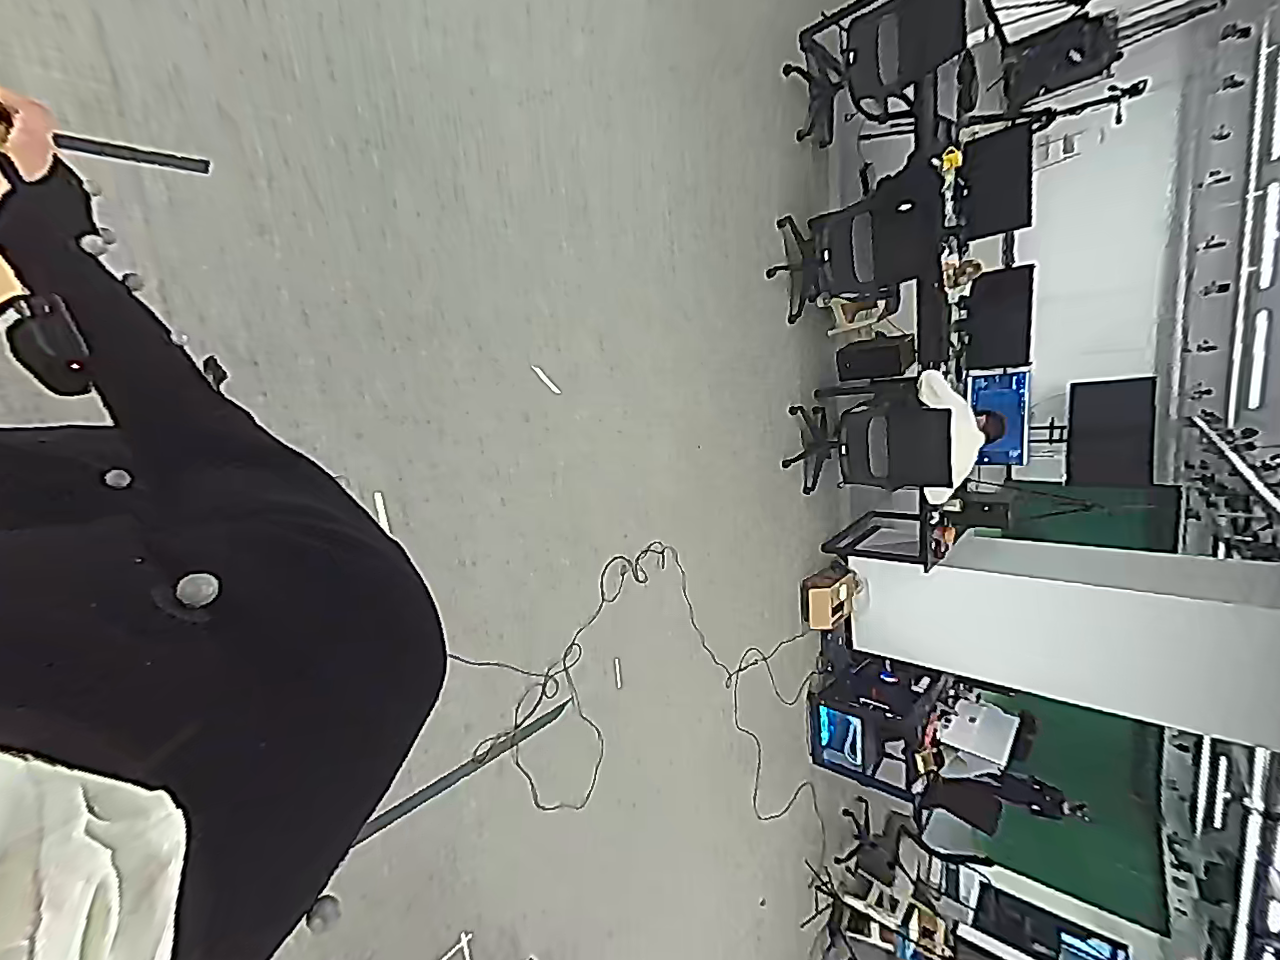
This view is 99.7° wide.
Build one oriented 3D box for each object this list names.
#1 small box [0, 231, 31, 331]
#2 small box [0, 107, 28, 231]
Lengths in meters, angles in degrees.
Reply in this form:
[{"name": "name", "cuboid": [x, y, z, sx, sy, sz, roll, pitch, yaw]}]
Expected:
[{"name": "small box", "cuboid": [-1.231, -0.367, 0.960, 0.168, 0.176, 0.179, -19, 106, -46]}, {"name": "small box", "cuboid": [-0.655, -0.322, 0.442, 0.179, 0.176, 0.168, -15, 99, -45]}]
